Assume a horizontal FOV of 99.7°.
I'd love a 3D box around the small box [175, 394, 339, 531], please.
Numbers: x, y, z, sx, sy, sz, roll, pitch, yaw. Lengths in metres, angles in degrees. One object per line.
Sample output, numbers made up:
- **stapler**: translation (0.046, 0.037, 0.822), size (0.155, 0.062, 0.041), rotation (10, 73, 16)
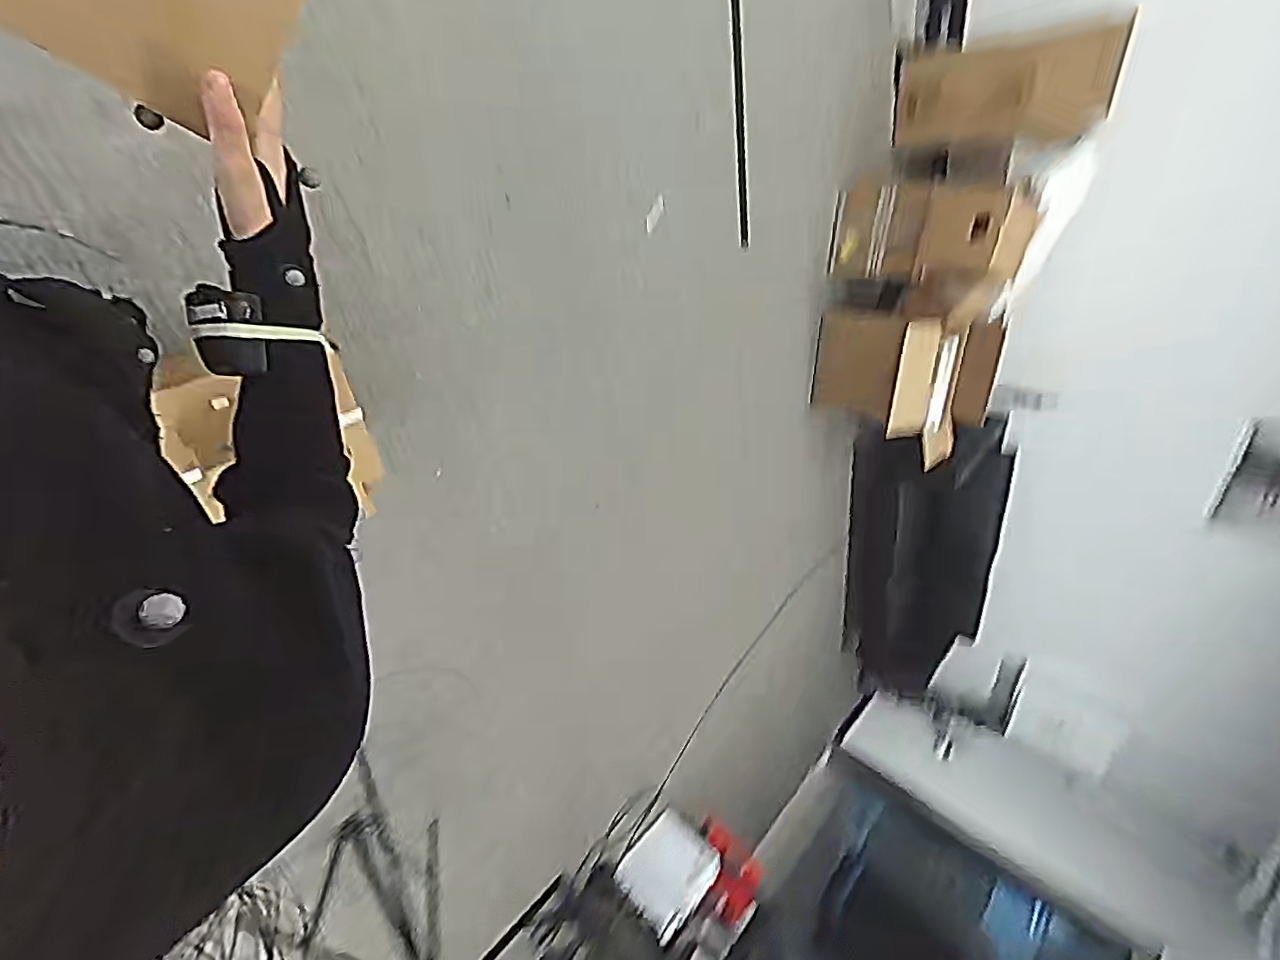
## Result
- **small box**: translation (-0.688, -0.041, 0.972), size (0.179, 0.176, 0.168), rotation (-33, 126, -32)
